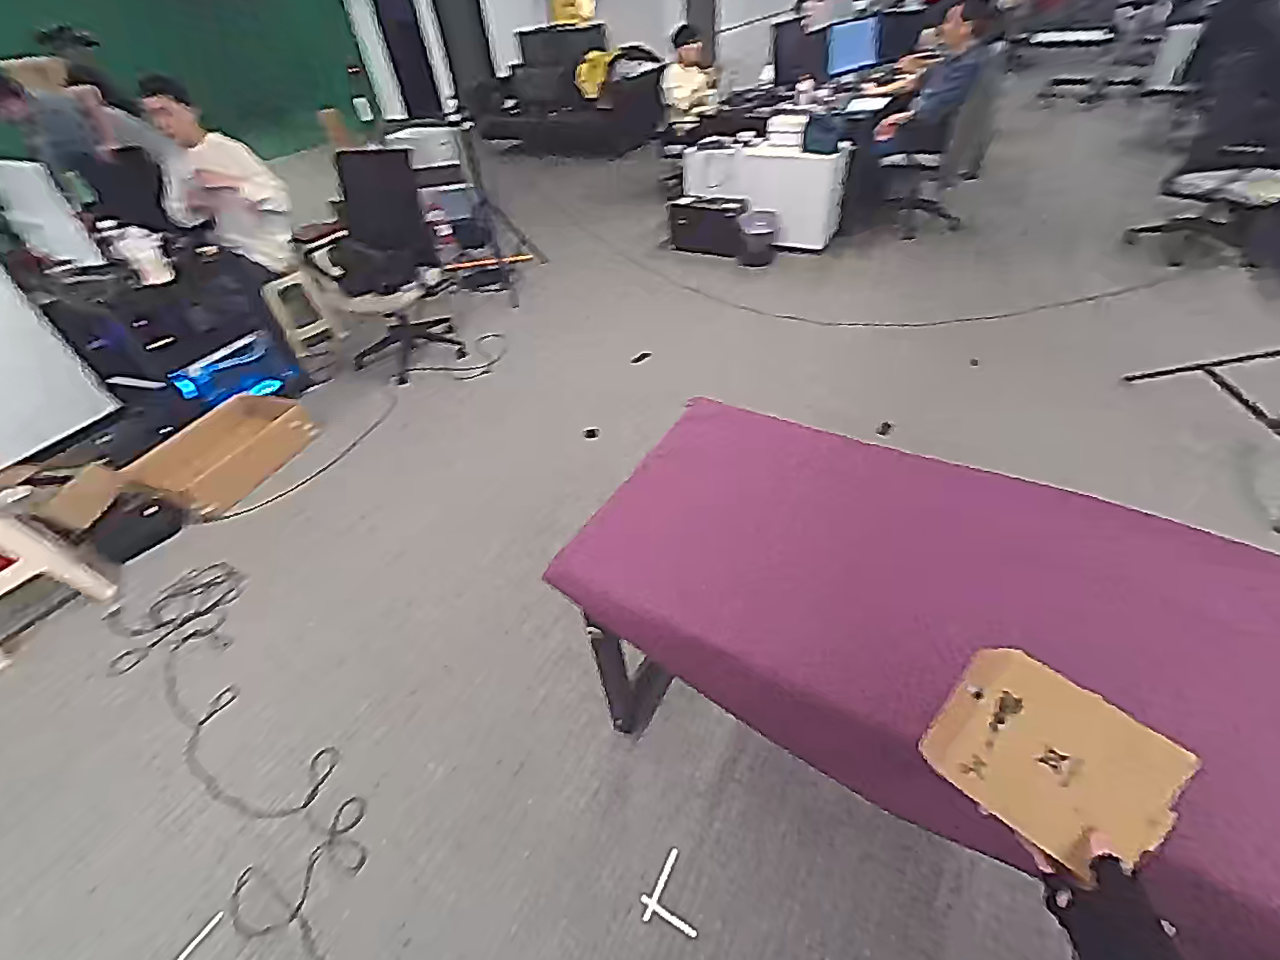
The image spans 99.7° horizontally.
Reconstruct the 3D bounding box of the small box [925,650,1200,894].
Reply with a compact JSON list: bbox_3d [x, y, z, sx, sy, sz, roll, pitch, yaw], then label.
[{"bbox_3d":[0.469,0.318,0.636,0.179,0.176,0.168,33,86,26],"label":"small box"}]
